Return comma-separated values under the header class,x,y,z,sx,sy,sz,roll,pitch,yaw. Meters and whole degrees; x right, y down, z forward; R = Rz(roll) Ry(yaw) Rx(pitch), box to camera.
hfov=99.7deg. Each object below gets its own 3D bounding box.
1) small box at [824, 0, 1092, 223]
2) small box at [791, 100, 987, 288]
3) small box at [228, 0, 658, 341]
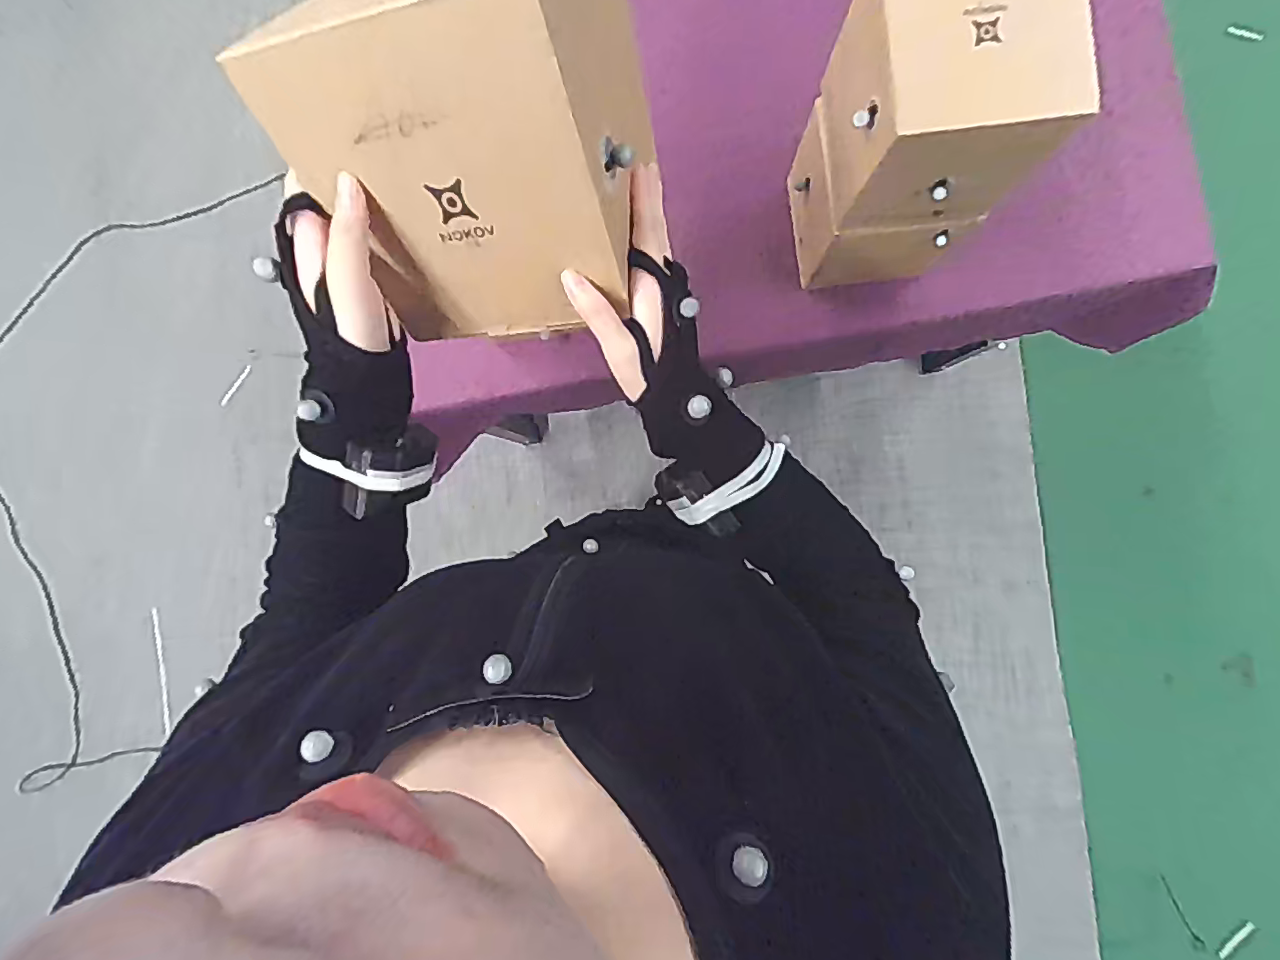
class,x,y,z,sx,sy,sz,roll,pitch,yaw
small box,0.289,-0.373,0.529,0.168,0.176,0.179,-4,88,2
small box,0.300,-0.362,0.693,0.179,0.176,0.168,-7,88,3
small box,-0.090,-0.216,0.349,0.168,0.179,0.176,0,54,16
